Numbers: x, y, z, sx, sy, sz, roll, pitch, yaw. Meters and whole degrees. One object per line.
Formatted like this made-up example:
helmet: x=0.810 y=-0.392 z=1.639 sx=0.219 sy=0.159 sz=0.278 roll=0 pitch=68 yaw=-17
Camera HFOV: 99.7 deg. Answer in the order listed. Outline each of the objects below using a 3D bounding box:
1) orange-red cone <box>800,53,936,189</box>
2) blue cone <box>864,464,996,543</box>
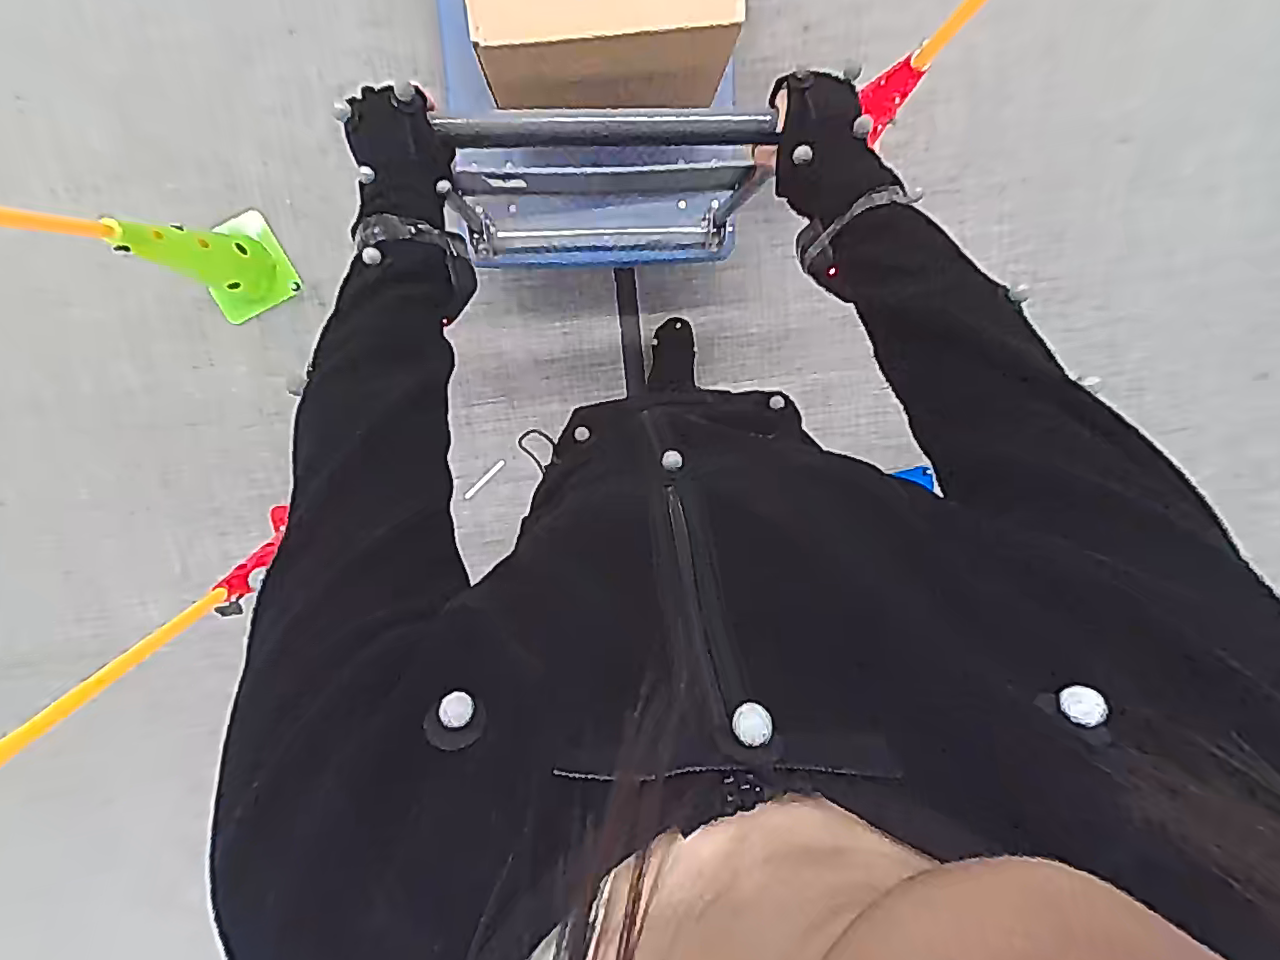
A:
orange-red cone: x=0.495 y=-0.768 z=1.121 sx=0.199 sy=0.360 sz=0.198 roll=-1 pitch=102 yaw=-4
blue cone: x=0.723 y=0.092 z=1.315 sx=0.193 sy=0.380 sz=0.192 roll=-11 pitch=100 yaw=-1
